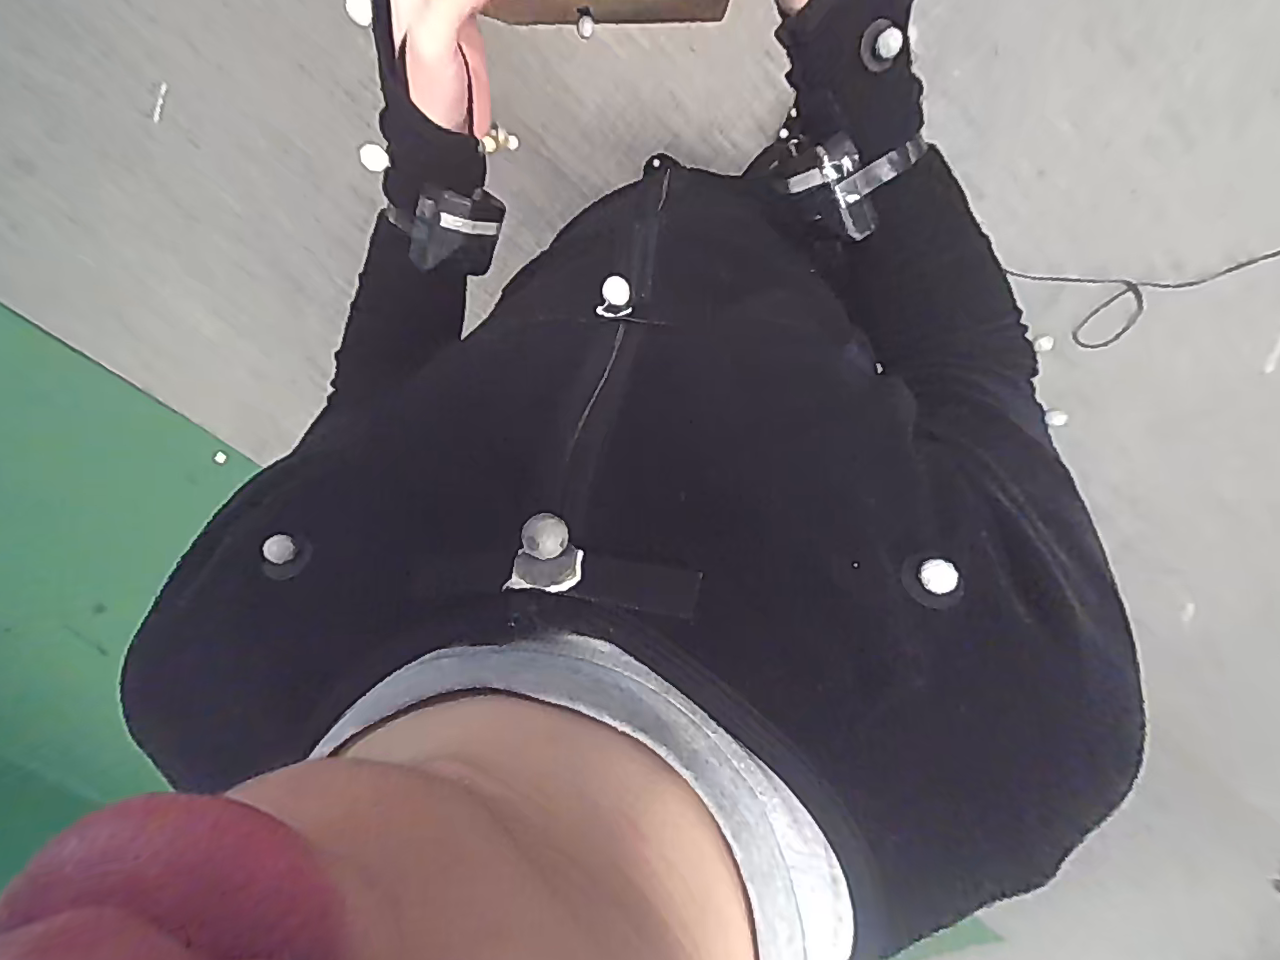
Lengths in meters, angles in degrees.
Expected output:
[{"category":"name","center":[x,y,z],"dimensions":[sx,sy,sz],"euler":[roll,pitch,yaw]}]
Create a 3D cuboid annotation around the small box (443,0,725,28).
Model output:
[{"category":"small box","center":[-0.028,-0.384,0.319],"dimensions":[0.179,0.176,0.168],"euler":[3,125,5]}]
